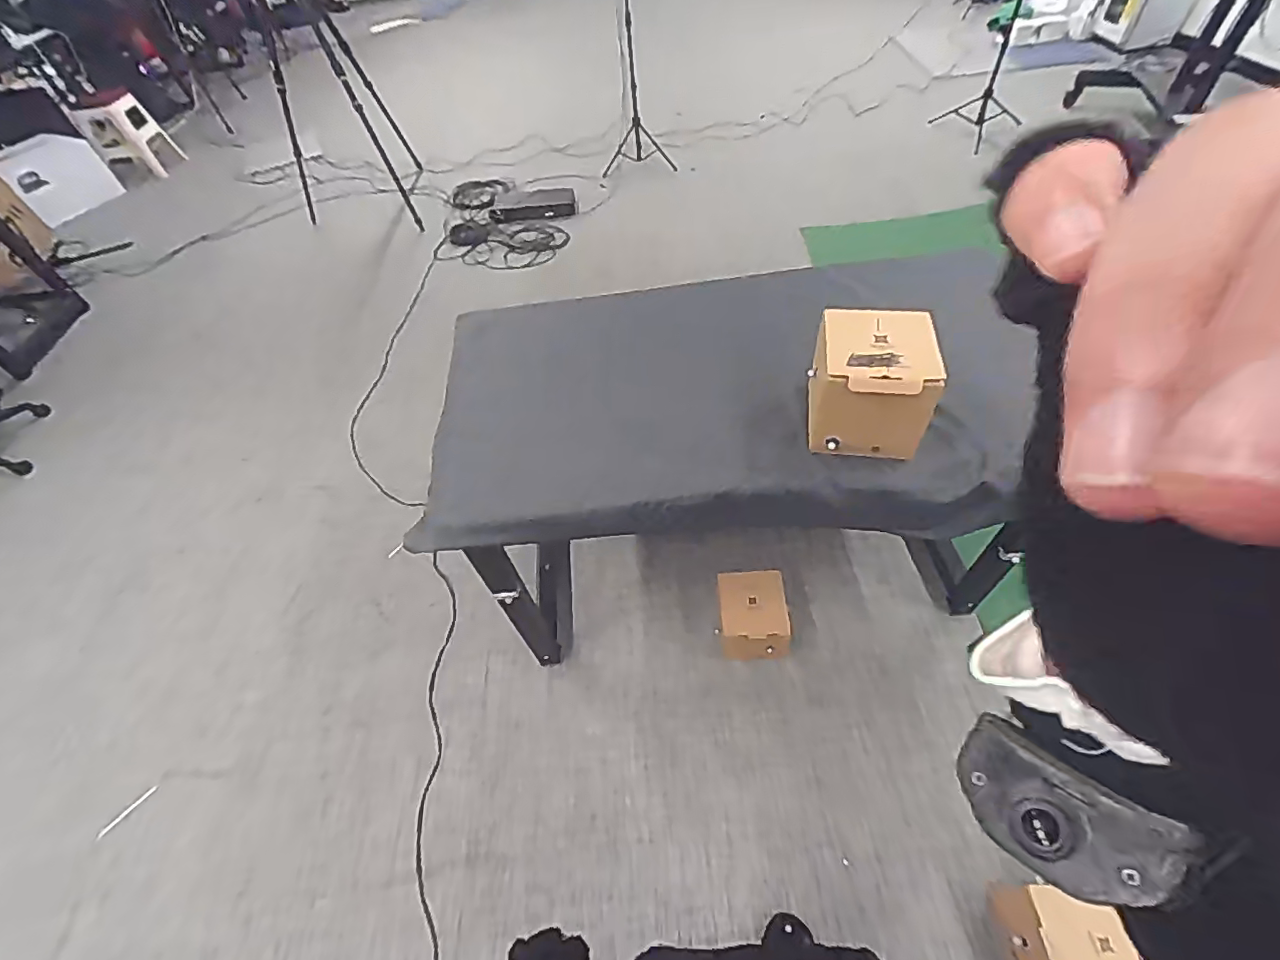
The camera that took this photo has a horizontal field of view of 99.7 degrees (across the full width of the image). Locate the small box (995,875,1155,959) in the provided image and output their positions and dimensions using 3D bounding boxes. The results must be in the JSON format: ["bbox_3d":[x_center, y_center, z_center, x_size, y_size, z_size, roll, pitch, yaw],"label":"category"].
[{"bbox_3d":[0.794,0.840,1.002,0.179,0.176,0.168,-3,52,5],"label":"small box"}]

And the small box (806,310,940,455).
[{"bbox_3d":[0.374,-0.159,0.898,0.168,0.176,0.179,5,52,11],"label":"small box"}]

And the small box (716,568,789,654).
[{"bbox_3d":[0.293,0.354,1.436,0.168,0.176,0.179,-3,51,3],"label":"small box"}]
